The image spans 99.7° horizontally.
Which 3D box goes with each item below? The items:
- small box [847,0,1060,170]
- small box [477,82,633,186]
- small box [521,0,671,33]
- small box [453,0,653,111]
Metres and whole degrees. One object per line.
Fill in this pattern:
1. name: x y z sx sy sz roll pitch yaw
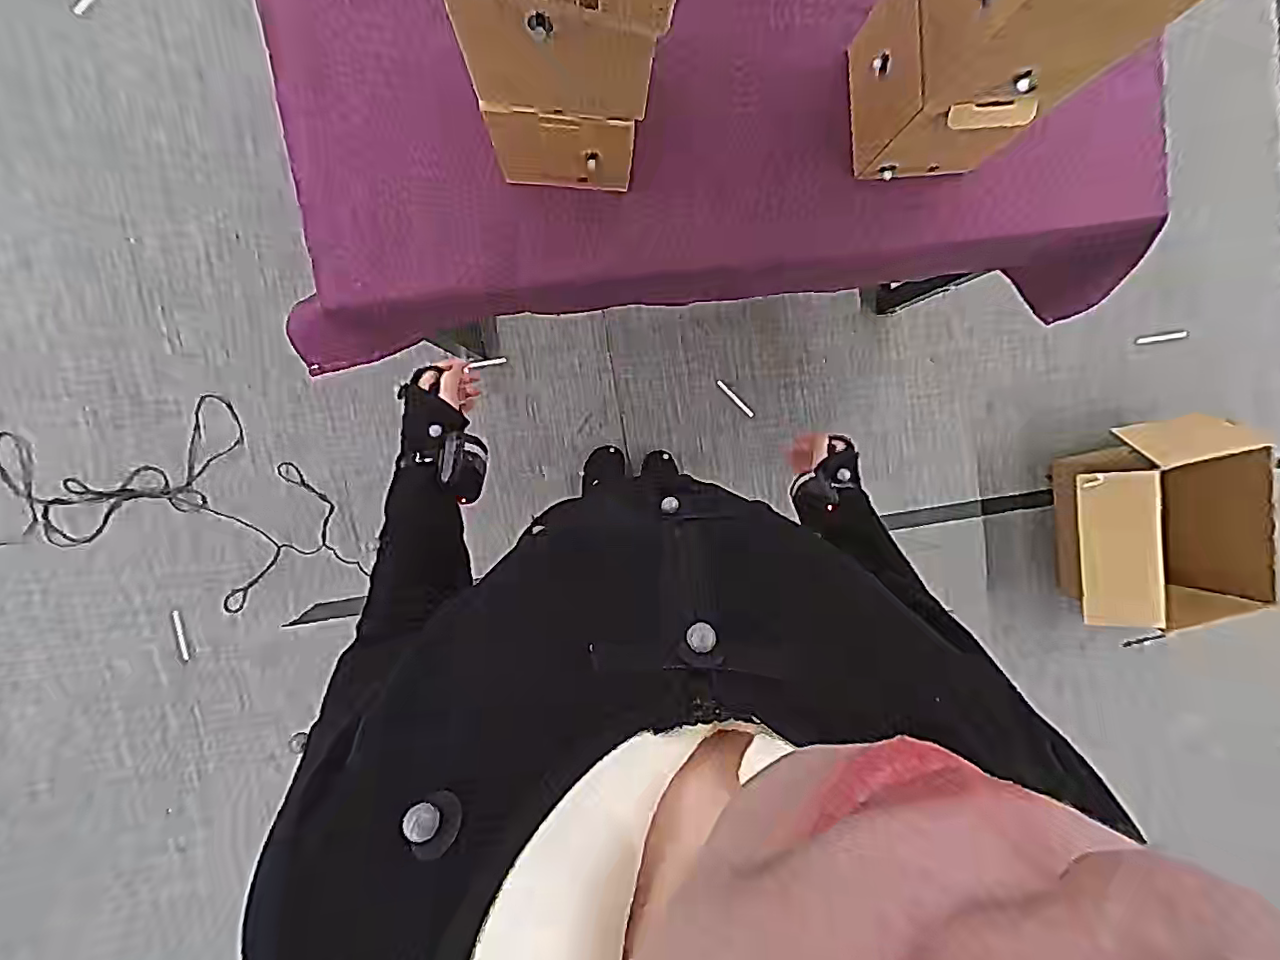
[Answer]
1. small box: 0.373 -0.508 0.670 0.168 0.176 0.179 -6 94 -4
2. small box: -0.089 -0.476 0.641 0.168 0.176 0.179 3 95 -5
3. small box: -0.039 -0.429 0.319 0.168 0.176 0.179 9 94 -6
4. small box: -0.071 -0.463 0.478 0.179 0.176 0.168 4 96 -6
